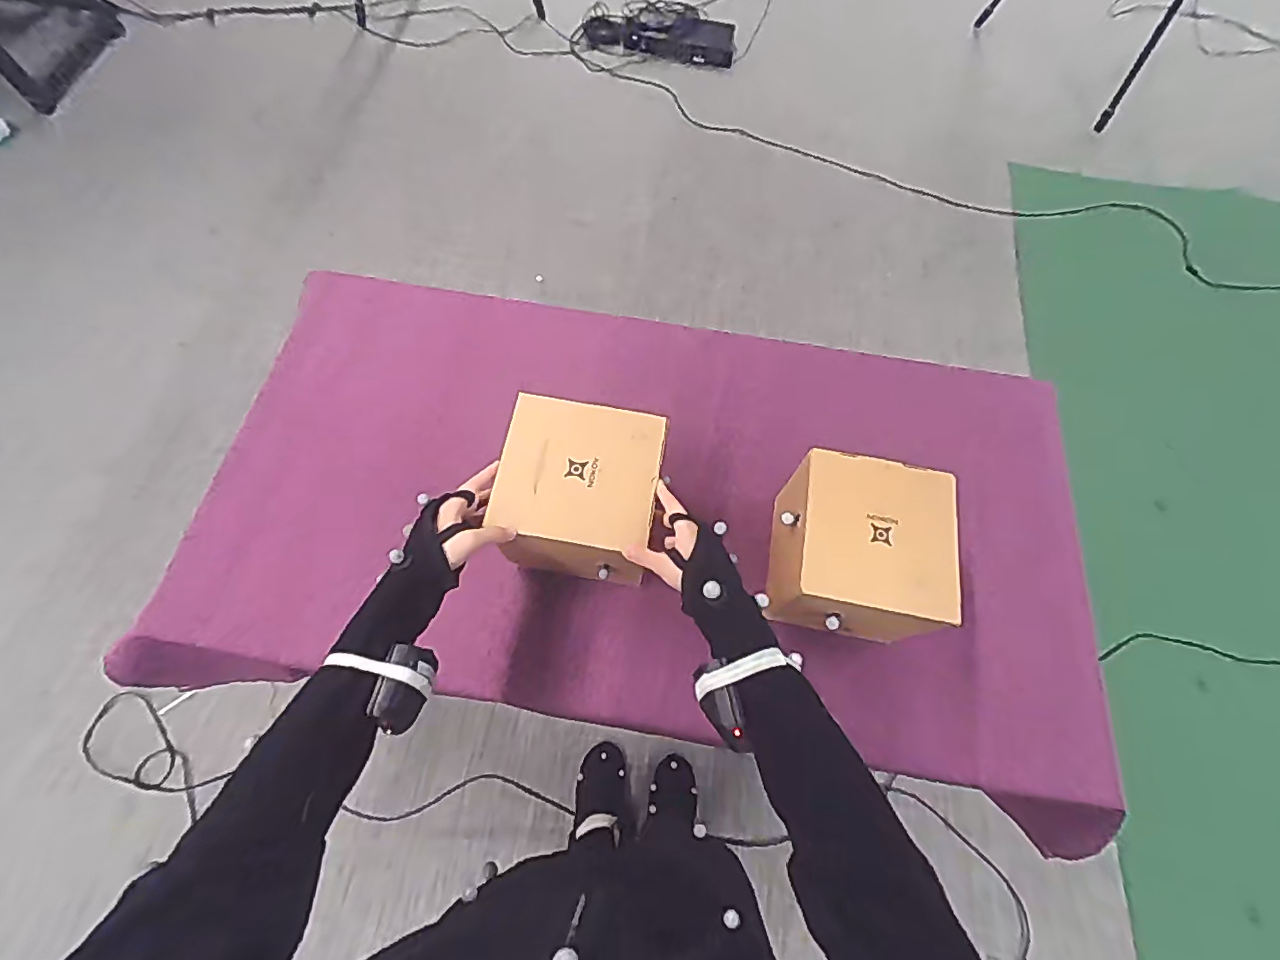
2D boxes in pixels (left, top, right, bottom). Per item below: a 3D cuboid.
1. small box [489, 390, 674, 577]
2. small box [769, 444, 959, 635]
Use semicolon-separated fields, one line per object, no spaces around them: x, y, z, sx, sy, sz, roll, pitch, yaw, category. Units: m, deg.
-0.064;0.015;0.666;0.179;0.176;0.168;10;67;1;small box
0.263;0.082;0.666;0.168;0.176;0.179;11;66;3;small box
